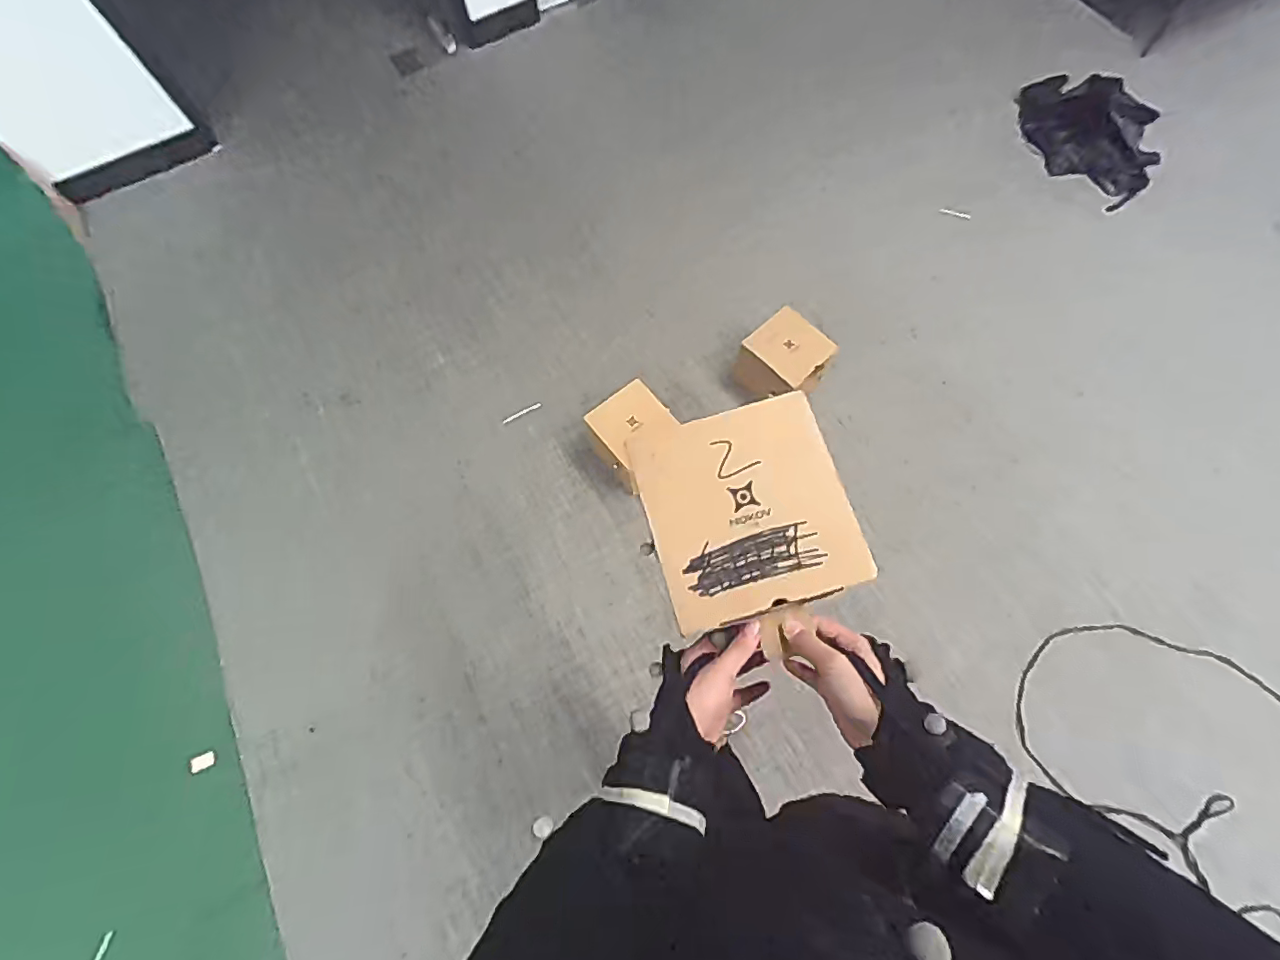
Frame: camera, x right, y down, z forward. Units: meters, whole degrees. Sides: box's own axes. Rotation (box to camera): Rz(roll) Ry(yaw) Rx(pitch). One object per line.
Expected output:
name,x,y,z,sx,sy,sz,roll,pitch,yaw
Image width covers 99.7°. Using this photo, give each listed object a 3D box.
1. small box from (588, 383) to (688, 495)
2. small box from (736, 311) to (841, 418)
small box,-0.006,-0.093,1.306,0.168,0.176,0.179,-37,73,-11
small box,0.366,-0.279,1.365,0.168,0.176,0.179,-40,72,-14
